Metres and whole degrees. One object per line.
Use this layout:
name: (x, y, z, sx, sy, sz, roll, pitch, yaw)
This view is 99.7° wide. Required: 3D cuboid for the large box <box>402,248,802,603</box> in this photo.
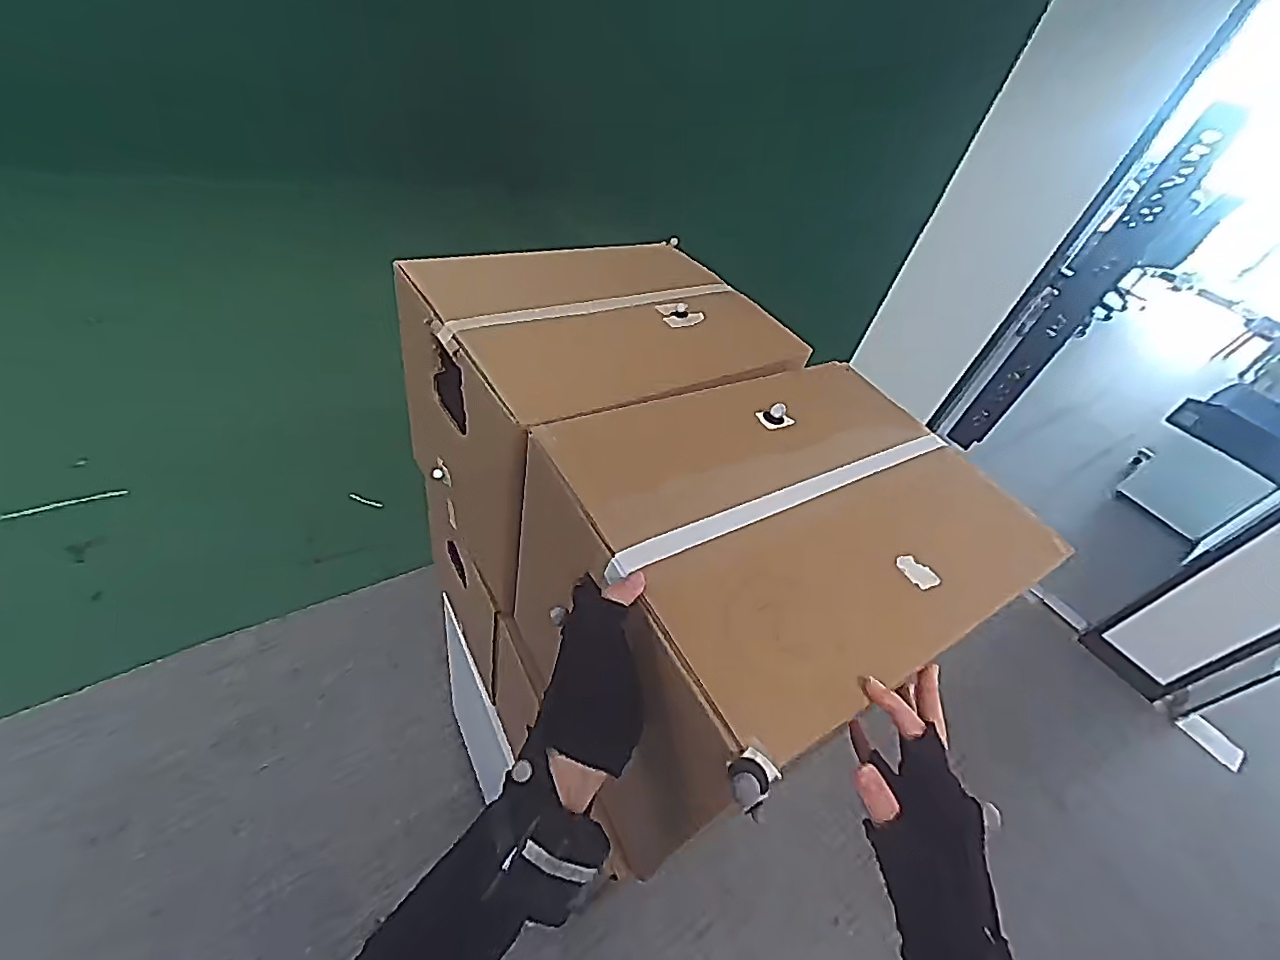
large box: (-0.065, -0.099, 0.751, 0.408, 0.320, 0.320, -19, 54, -33)
